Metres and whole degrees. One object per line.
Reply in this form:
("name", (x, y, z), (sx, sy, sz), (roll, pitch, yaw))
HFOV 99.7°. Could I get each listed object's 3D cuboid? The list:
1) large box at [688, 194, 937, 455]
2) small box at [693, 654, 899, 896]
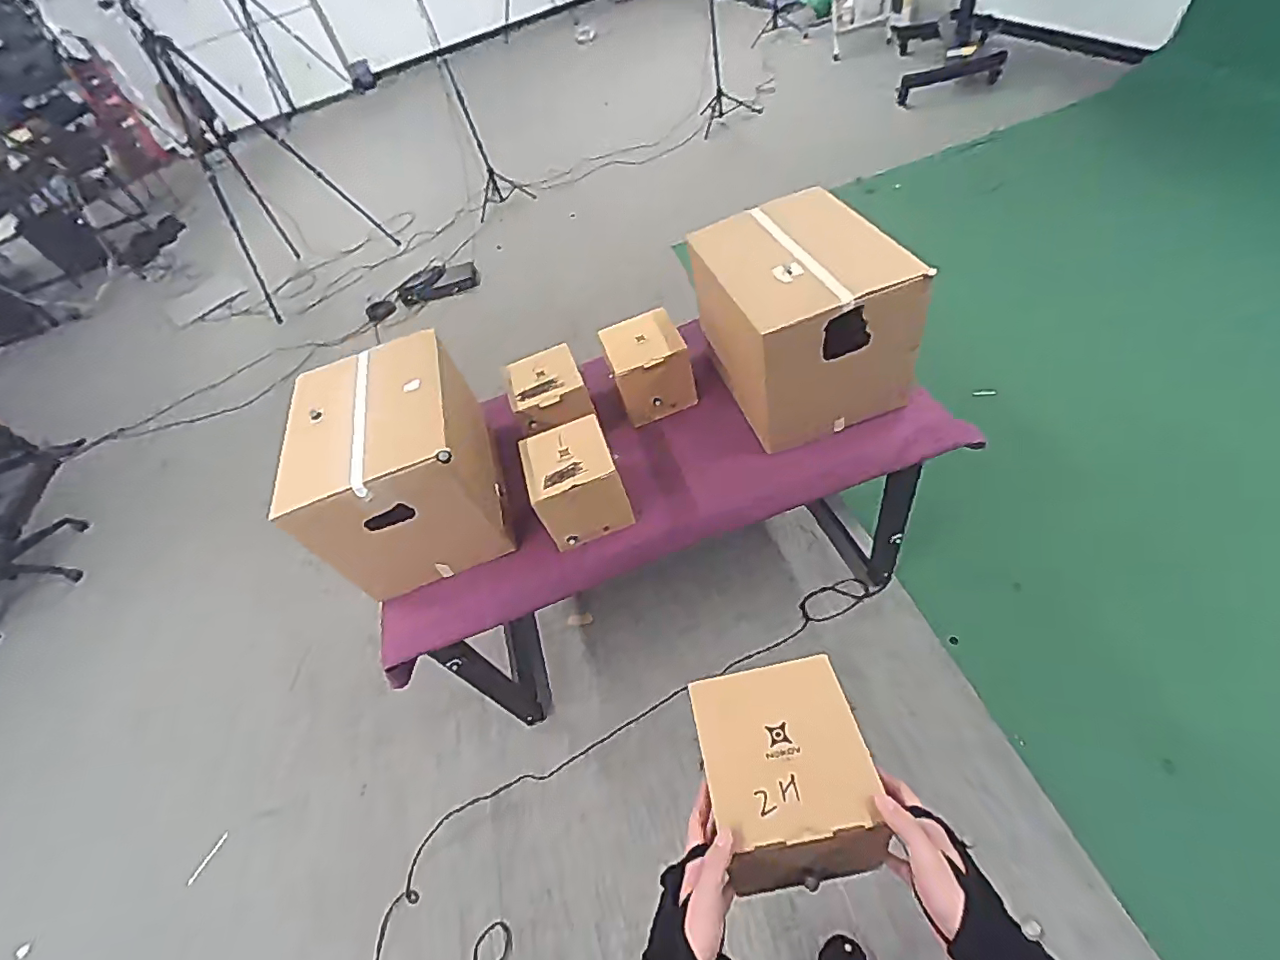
("large box", (0.328, -0.329, 1.138), (0.320, 0.320, 0.408), (-21, 50, 0))
("small box", (0.162, 0.329, 0.608), (0.168, 0.176, 0.179), (-13, 40, 2))
